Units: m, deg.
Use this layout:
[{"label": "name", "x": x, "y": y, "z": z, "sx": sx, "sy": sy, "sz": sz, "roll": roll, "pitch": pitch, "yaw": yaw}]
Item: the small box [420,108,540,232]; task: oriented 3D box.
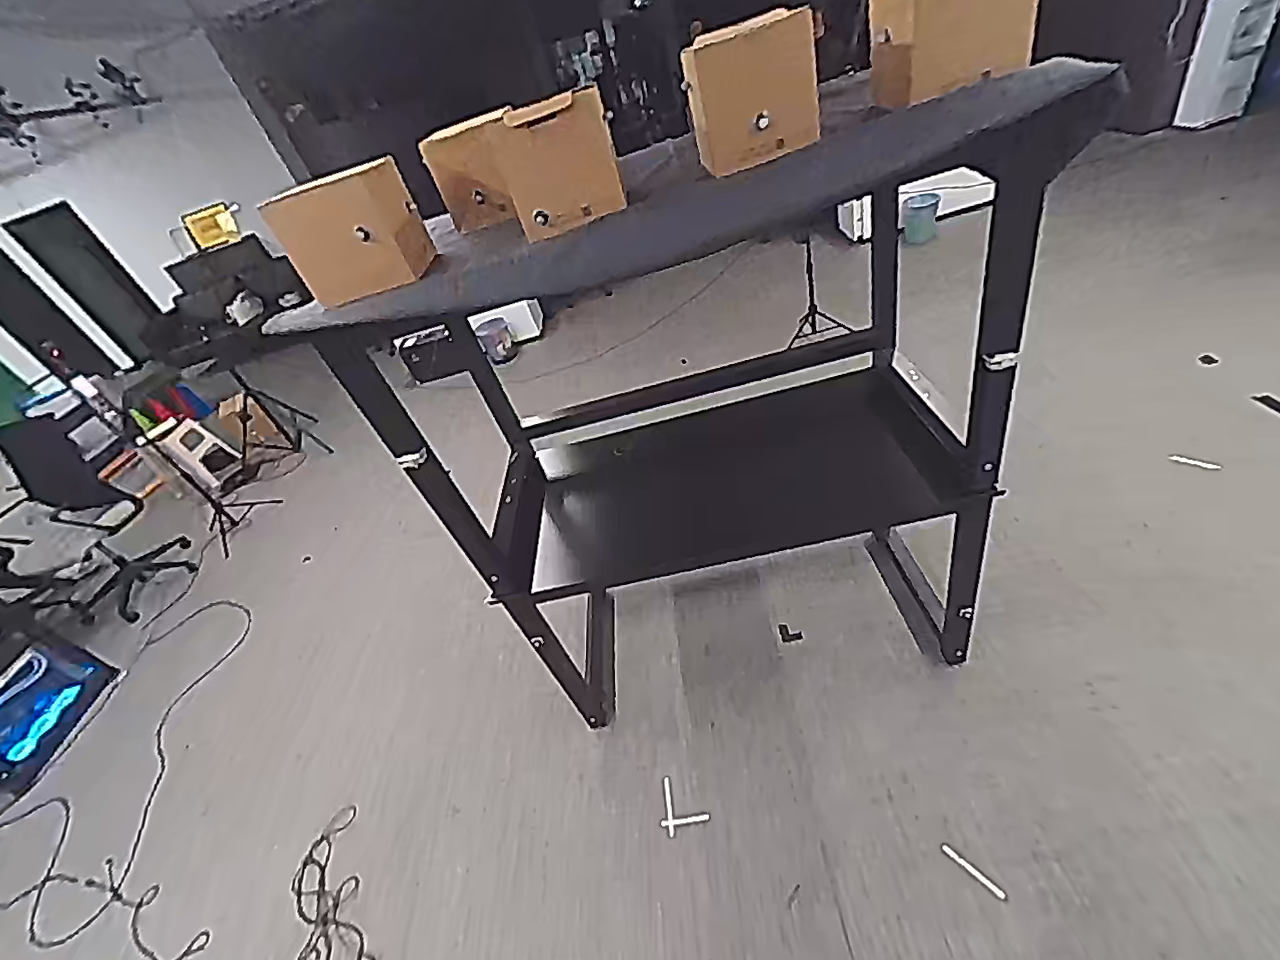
[{"label": "small box", "x": -0.311, "y": -0.625, "z": 1.095, "sx": 0.168, "sy": 0.176, "sz": 0.179, "roll": -15, "pitch": 39, "yaw": 7}]

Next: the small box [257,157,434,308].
[{"label": "small box", "x": -0.474, "y": -0.413, "z": 0.907, "sx": 0.179, "sy": 0.176, "sz": 0.168, "roll": -14, "pitch": 38, "yaw": 6}]

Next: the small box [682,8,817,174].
[{"label": "small box", "x": 0.170, "y": -0.602, "z": 0.850, "sx": 0.168, "sy": 0.176, "sz": 0.179, "roll": -14, "pitch": 37, "yaw": 8}]

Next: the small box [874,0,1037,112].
[{"label": "small box", "x": 0.458, "y": -0.674, "z": 0.808, "sx": 0.168, "sy": 0.176, "sz": 0.179, "roll": -14, "pitch": 37, "yaw": 10}]
